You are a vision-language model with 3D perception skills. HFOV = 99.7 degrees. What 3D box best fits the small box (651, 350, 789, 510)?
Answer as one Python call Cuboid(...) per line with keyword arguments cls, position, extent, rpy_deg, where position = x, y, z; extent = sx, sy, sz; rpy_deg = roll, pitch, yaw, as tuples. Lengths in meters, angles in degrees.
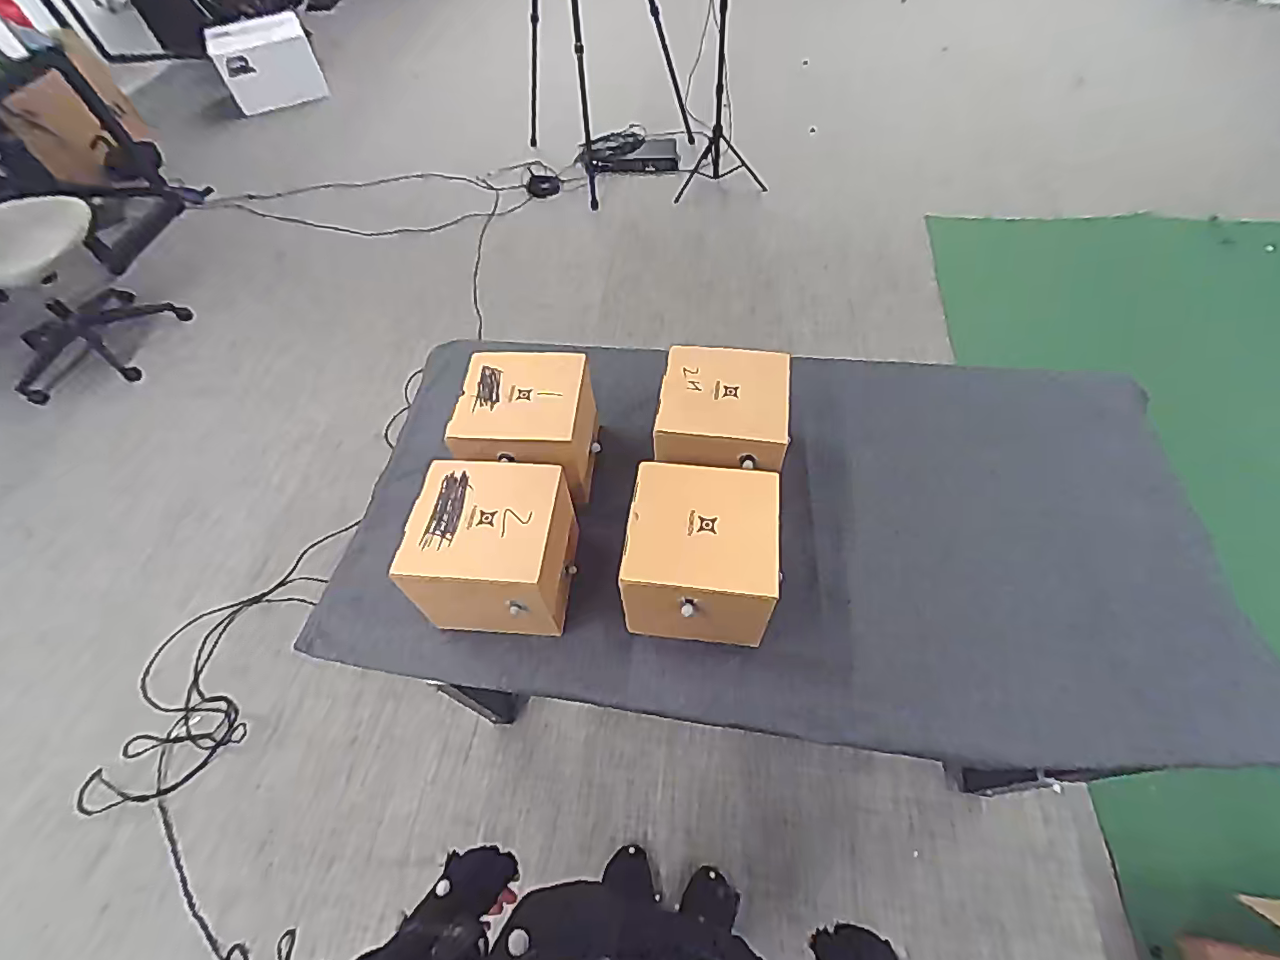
Cuboid(cls="small box", position=(0.117, -0.070, 0.806), extent=(0.179, 0.176, 0.168), rpy_deg=(6, 56, 9))
